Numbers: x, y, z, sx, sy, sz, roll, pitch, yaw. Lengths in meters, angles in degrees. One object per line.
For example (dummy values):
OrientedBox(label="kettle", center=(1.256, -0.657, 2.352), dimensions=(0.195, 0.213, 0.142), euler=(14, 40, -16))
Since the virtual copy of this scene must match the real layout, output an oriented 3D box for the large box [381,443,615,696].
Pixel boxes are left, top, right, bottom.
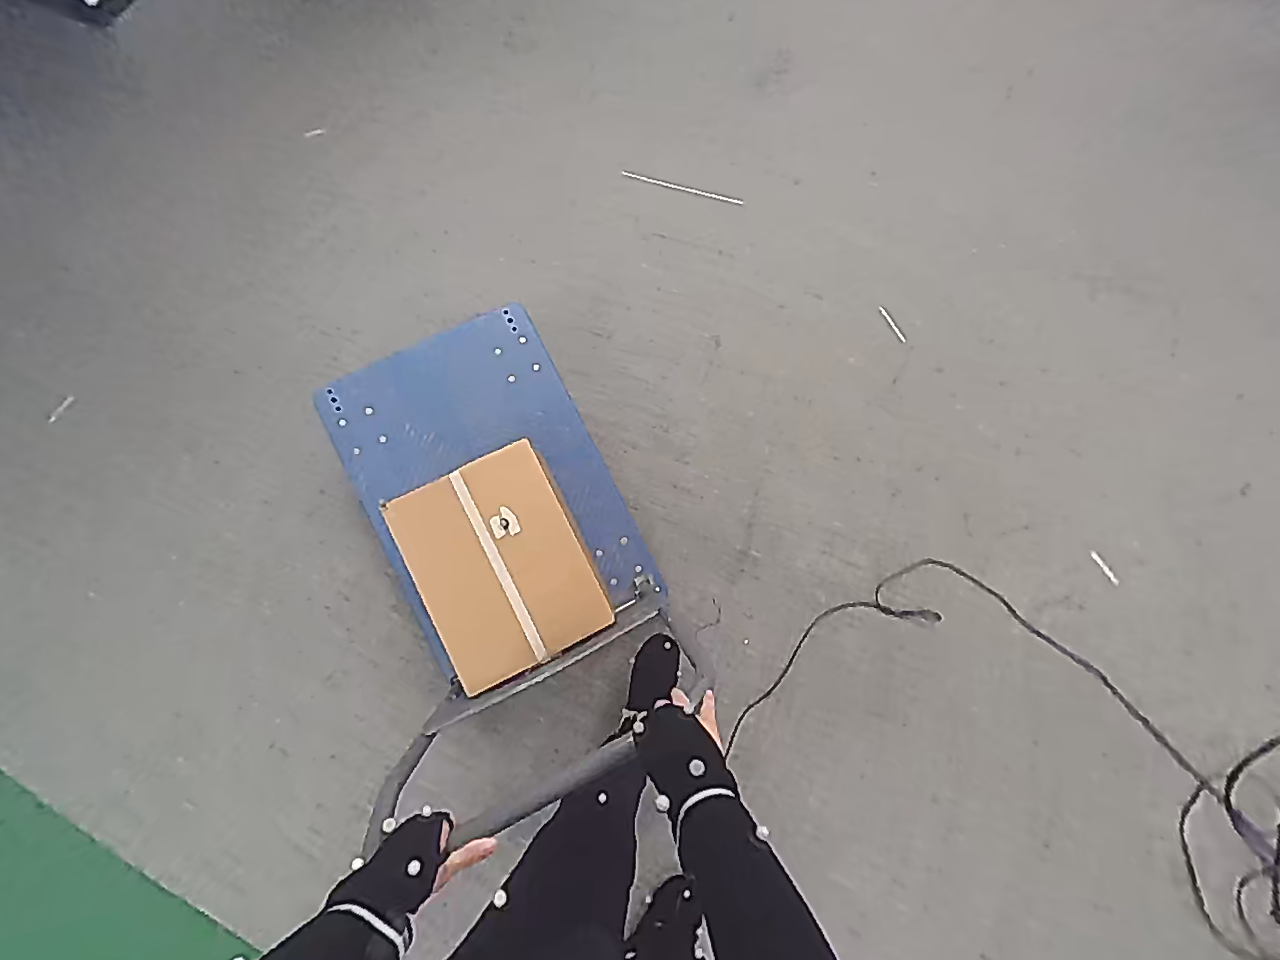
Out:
OrientedBox(label="large box", center=(-0.281, 0.184, 1.191), dimensions=(0.320, 0.320, 0.408), euler=(-27, 86, -7))
